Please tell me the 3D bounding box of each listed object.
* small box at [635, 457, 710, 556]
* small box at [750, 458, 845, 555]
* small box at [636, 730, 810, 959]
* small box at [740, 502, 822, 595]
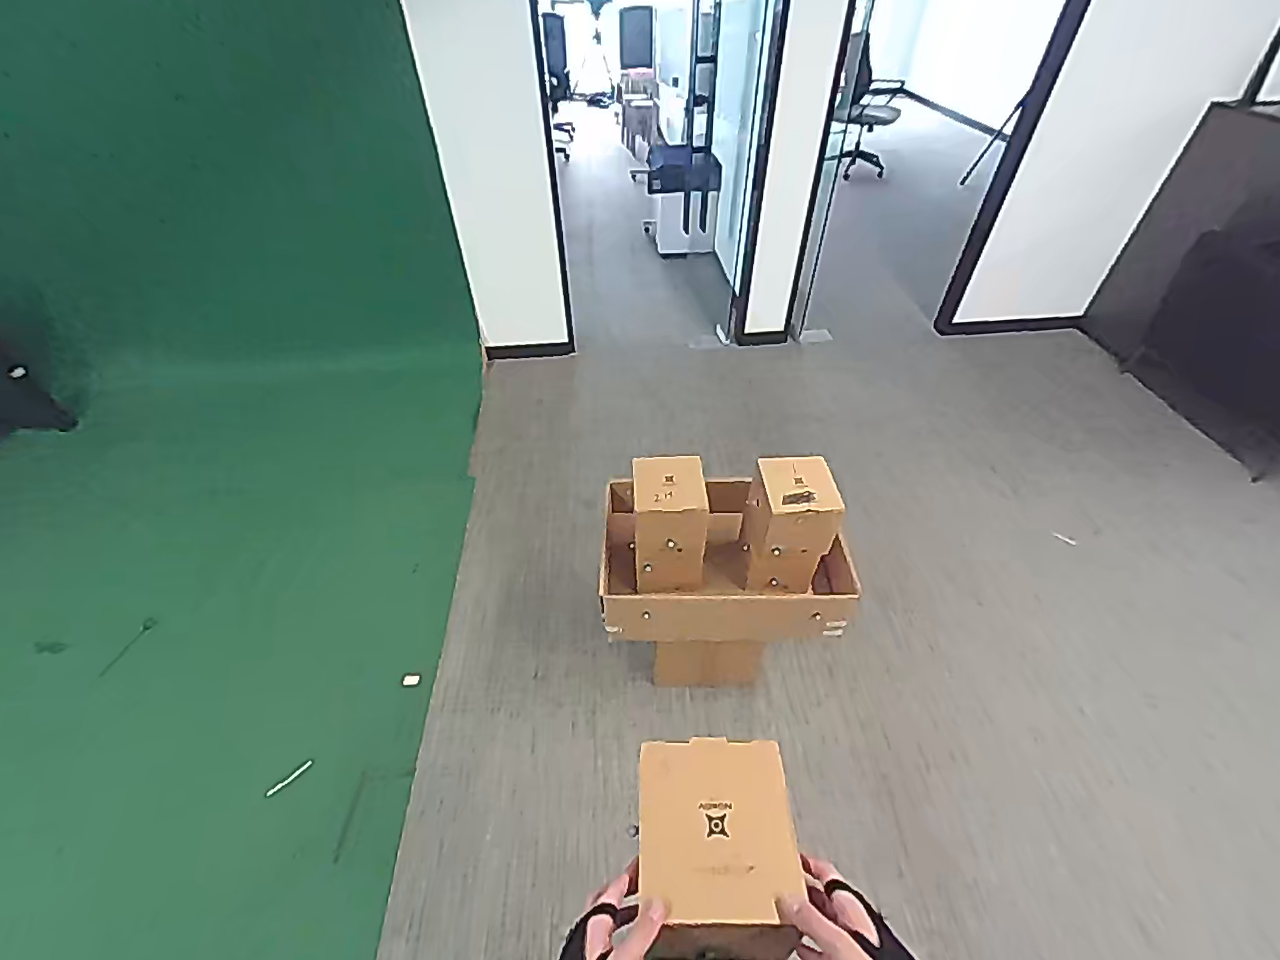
[{"bbox_3d":[0.071,0.063,1.298,0.168,0.176,0.179,-2,45,-1],"label":"small box"},{"bbox_3d":[0.368,0.067,1.294,0.168,0.176,0.179,-1,45,-2],"label":"small box"},{"bbox_3d":[0.081,0.414,0.620,0.168,0.176,0.179,0,38,2],"label":"small box"},{"bbox_3d":[0.360,0.179,1.415,0.168,0.176,0.179,2,46,1],"label":"small box"}]
